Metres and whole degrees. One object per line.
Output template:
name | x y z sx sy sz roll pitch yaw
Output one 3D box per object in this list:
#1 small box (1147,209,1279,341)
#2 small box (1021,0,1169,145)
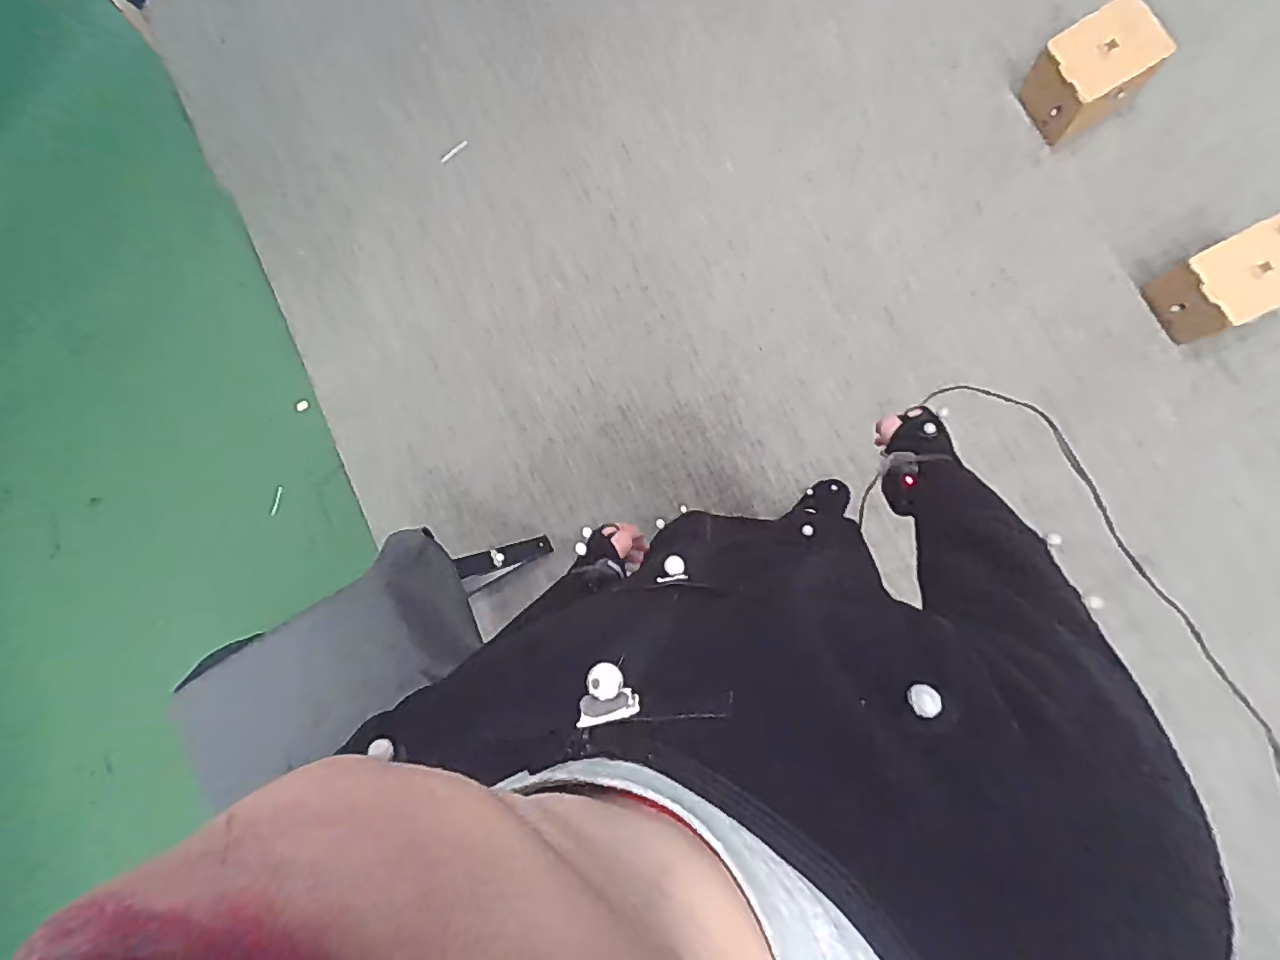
small box | 1.233 -0.418 1.139 0.179 0.176 0.168 -28 82 16
small box | 0.997 -0.906 1.212 0.179 0.176 0.168 -29 83 14
